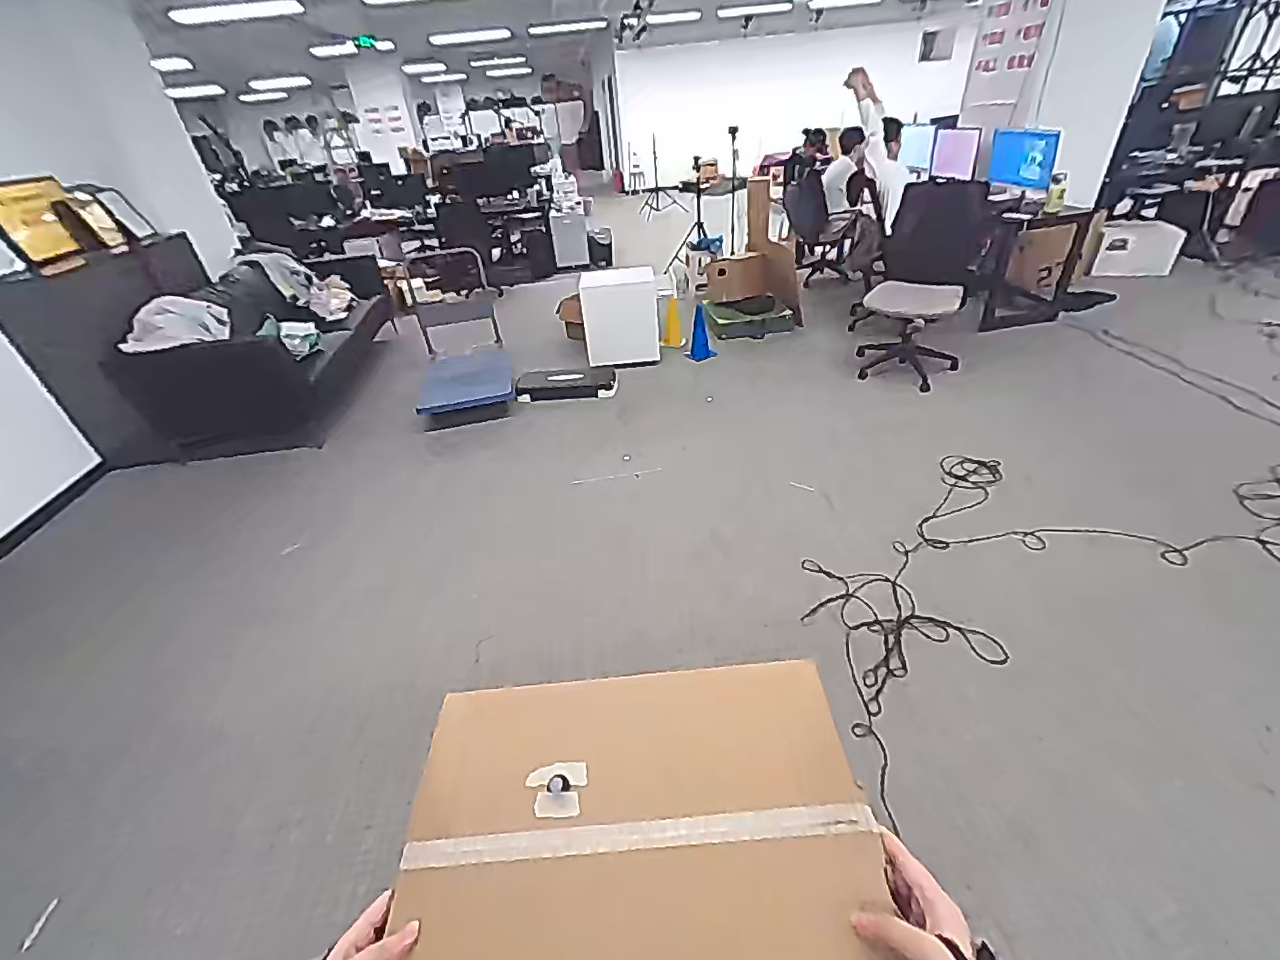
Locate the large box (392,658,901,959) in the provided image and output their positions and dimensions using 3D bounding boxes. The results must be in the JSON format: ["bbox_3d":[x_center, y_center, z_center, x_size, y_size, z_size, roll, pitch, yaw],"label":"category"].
[{"bbox_3d":[0.015,0.432,0.576,0.408,0.320,0.320,-8,38,4],"label":"large box"}]
